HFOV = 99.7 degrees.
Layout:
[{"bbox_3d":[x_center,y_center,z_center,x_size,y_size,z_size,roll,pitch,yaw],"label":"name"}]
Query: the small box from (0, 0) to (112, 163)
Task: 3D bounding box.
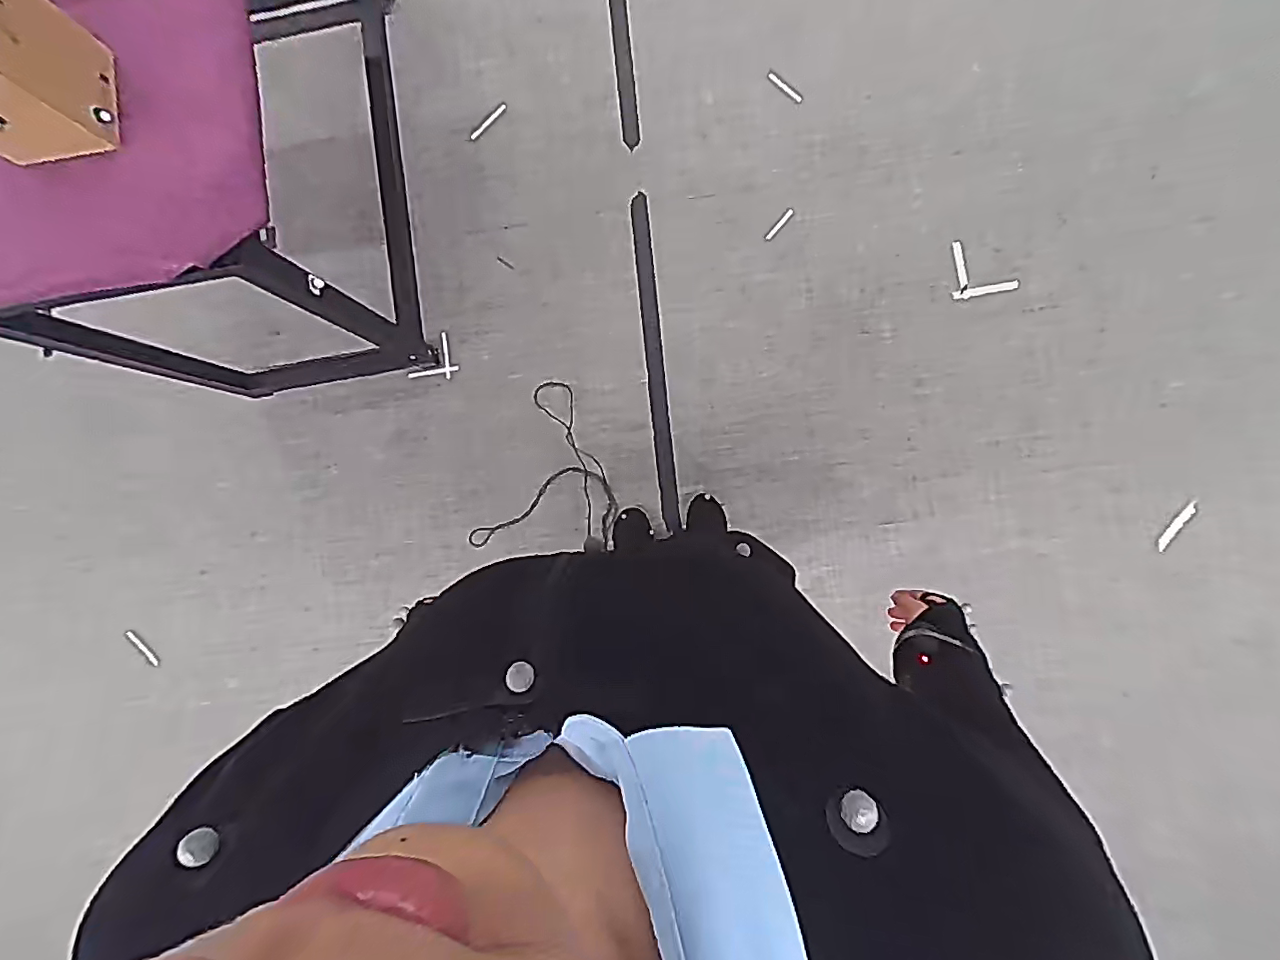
[{"bbox_3d":[-0.929,-0.601,0.791,0.179,0.176,0.168,-7,87,4],"label":"small box"}]
